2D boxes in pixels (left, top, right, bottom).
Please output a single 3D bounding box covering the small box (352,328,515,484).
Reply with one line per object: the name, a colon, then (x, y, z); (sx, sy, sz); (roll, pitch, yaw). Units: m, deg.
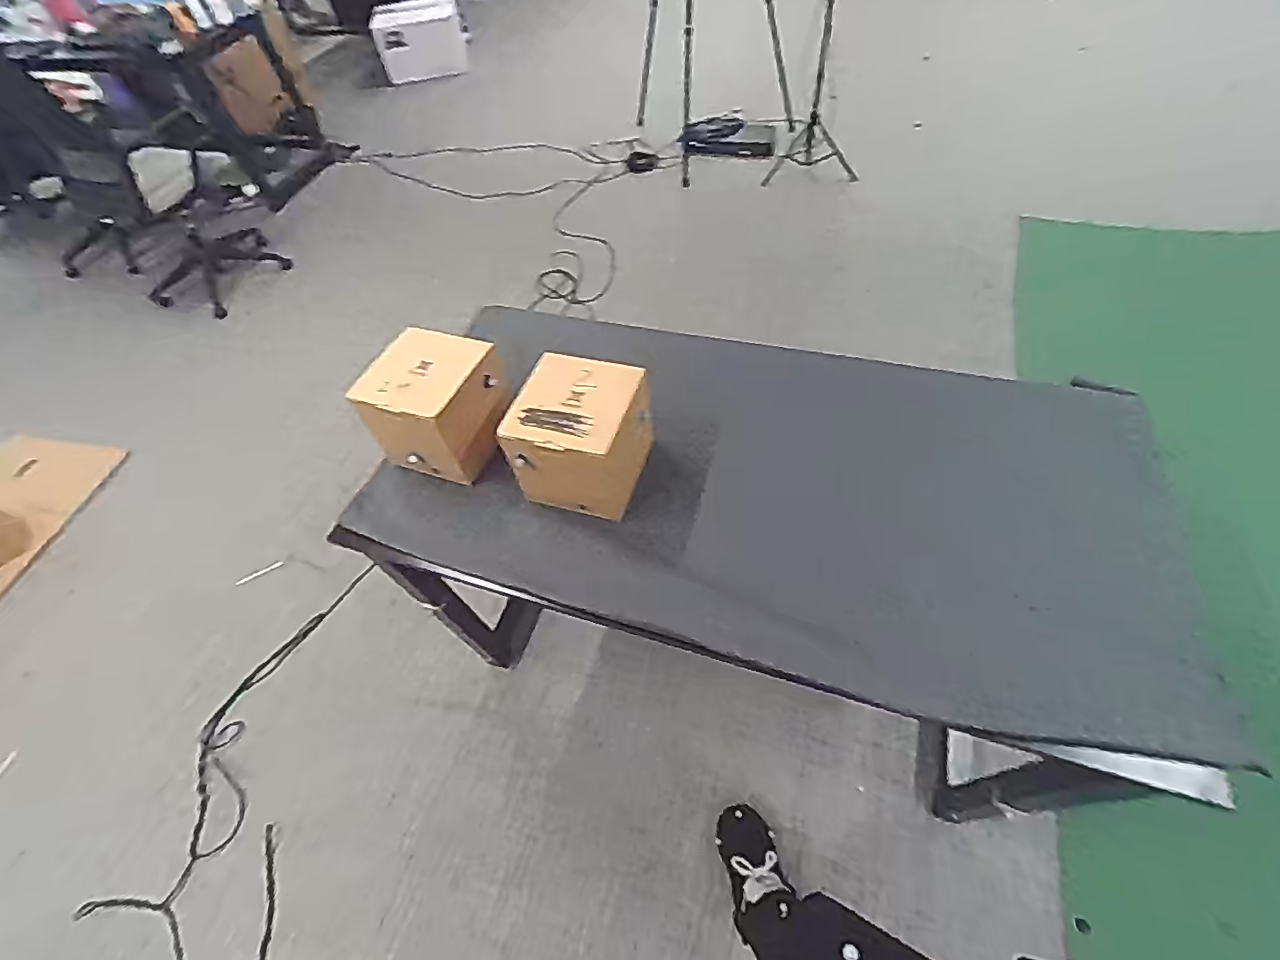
small box: (-0.329, -0.123, 0.909); (0.168, 0.176, 0.179); (15, 57, 16)
